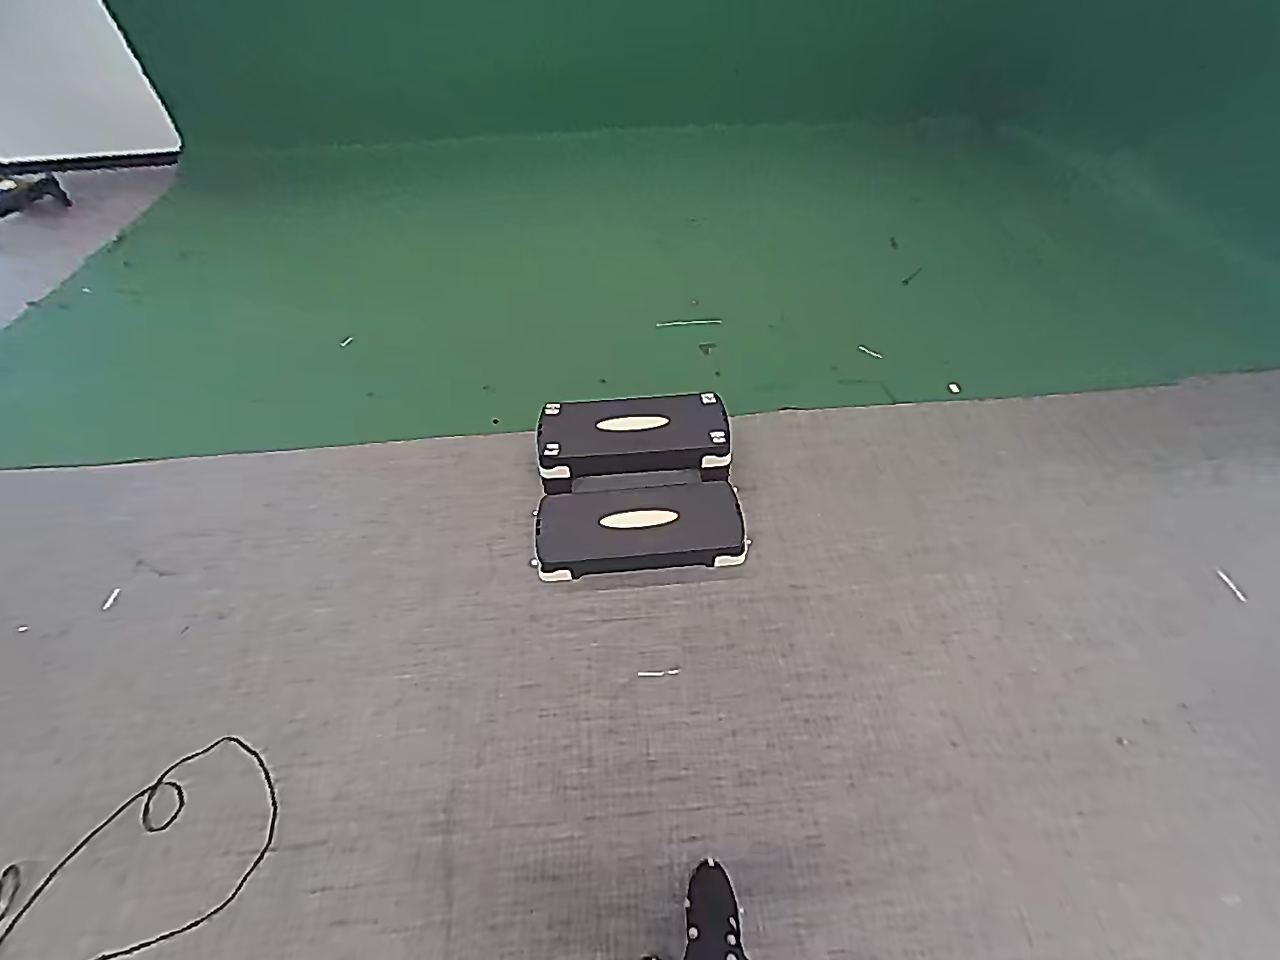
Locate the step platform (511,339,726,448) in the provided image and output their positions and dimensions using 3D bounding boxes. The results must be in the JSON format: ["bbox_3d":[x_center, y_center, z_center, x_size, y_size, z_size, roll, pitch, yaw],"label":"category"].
[{"bbox_3d":[-0.068,-0.288,1.797,0.684,0.204,0.286,-5,51,-2],"label":"step platform"}]
